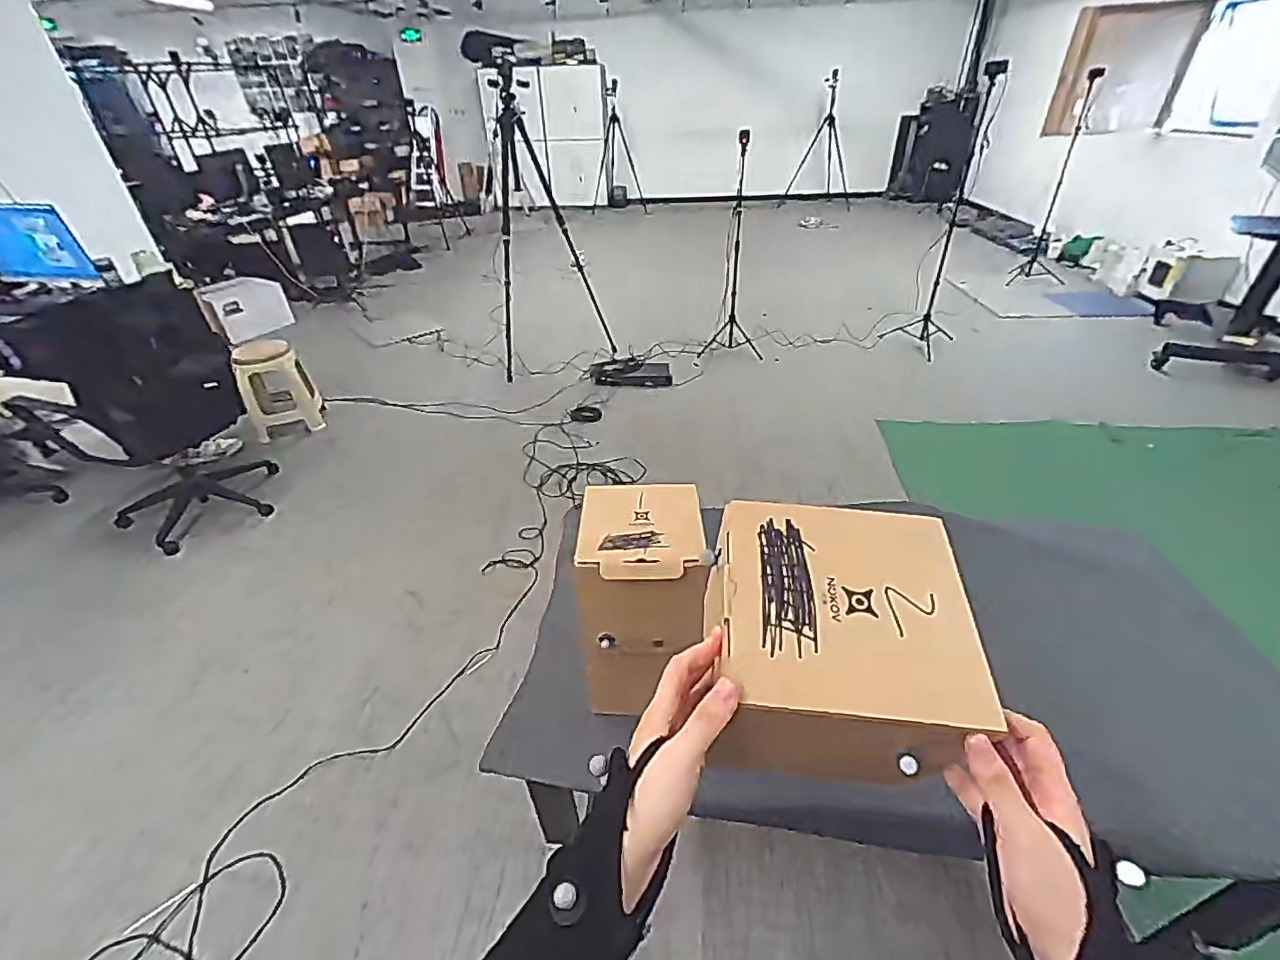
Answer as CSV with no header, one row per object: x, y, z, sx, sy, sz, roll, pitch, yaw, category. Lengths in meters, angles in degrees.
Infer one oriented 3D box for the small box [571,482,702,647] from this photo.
0.000,0.122,0.771,0.168,0.176,0.179,-2,33,1,small box

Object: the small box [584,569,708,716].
0.017,0.256,0.865,0.179,0.176,0.168,0,34,5,small box
